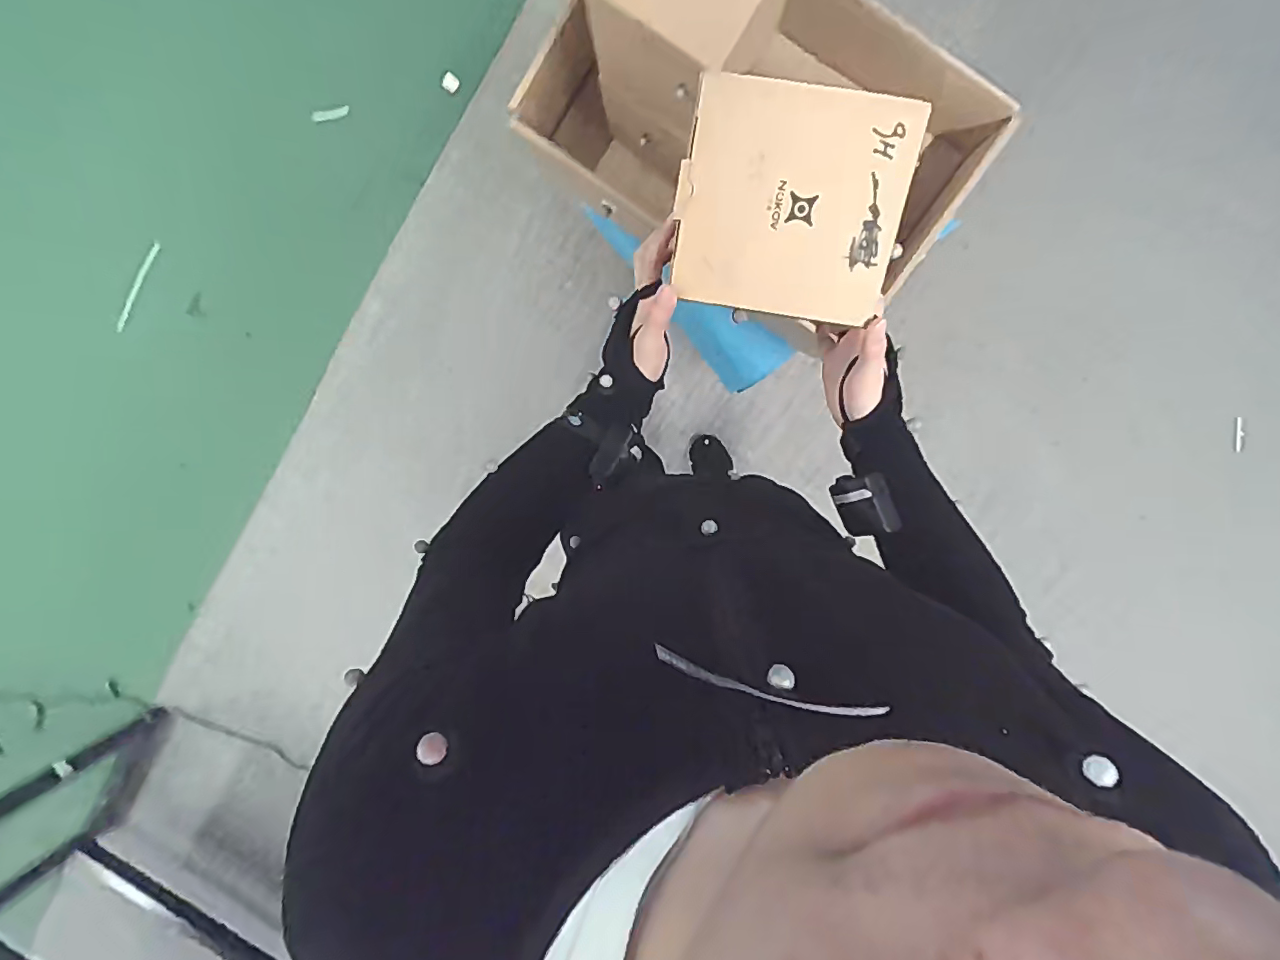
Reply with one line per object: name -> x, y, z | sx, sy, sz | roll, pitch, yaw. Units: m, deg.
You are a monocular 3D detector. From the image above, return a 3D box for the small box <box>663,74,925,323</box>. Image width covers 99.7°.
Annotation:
small box -> 0.125, -0.245, 0.507 | 0.179, 0.176, 0.168 | 10, 109, 4
